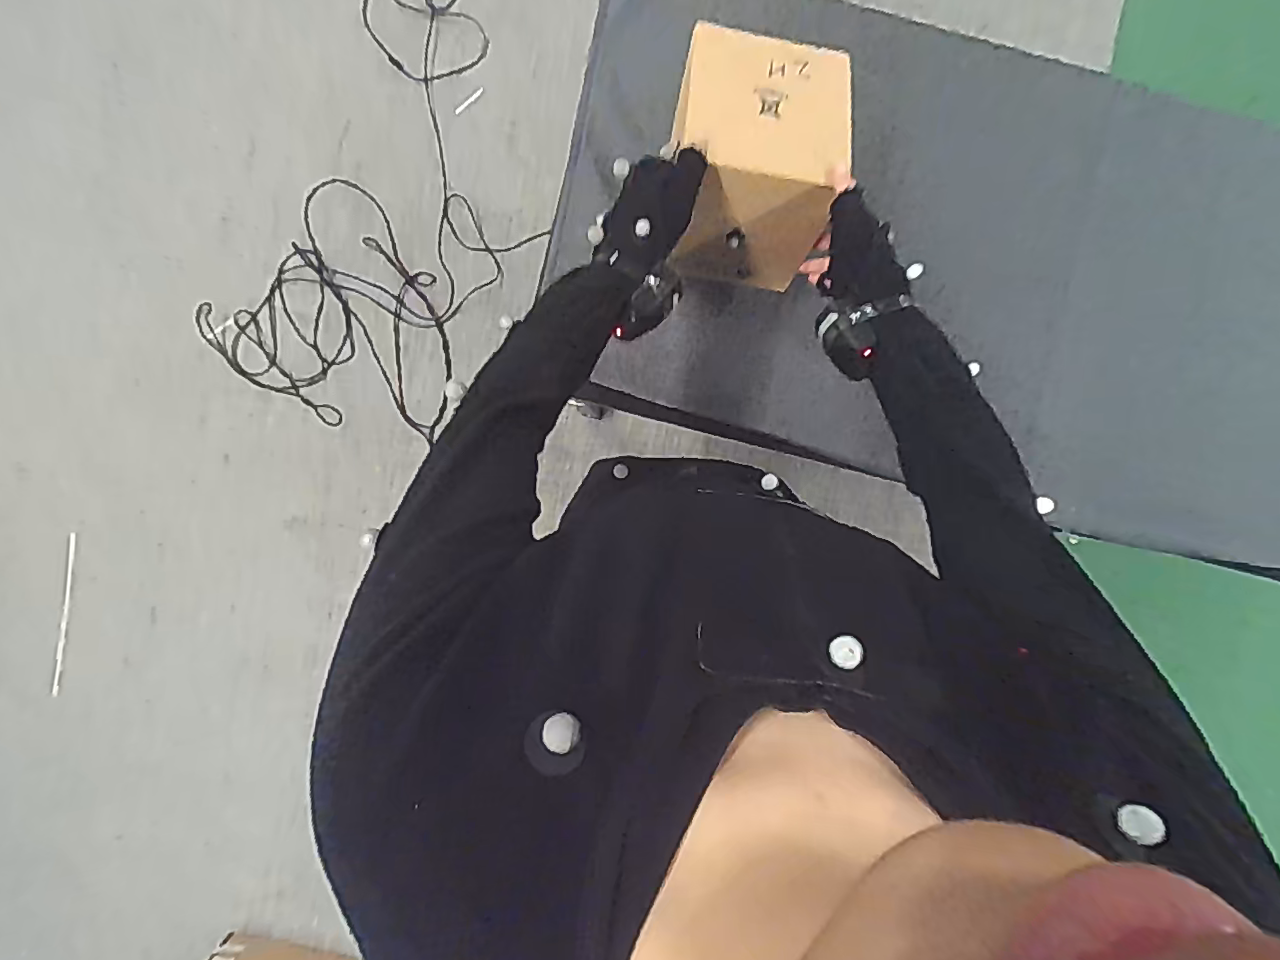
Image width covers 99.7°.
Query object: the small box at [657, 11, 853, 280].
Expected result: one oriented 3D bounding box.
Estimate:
[{"bbox_3d":[0.116,-0.351,0.597,0.168,0.176,0.179,8,73,-6],"label":"small box"}]
